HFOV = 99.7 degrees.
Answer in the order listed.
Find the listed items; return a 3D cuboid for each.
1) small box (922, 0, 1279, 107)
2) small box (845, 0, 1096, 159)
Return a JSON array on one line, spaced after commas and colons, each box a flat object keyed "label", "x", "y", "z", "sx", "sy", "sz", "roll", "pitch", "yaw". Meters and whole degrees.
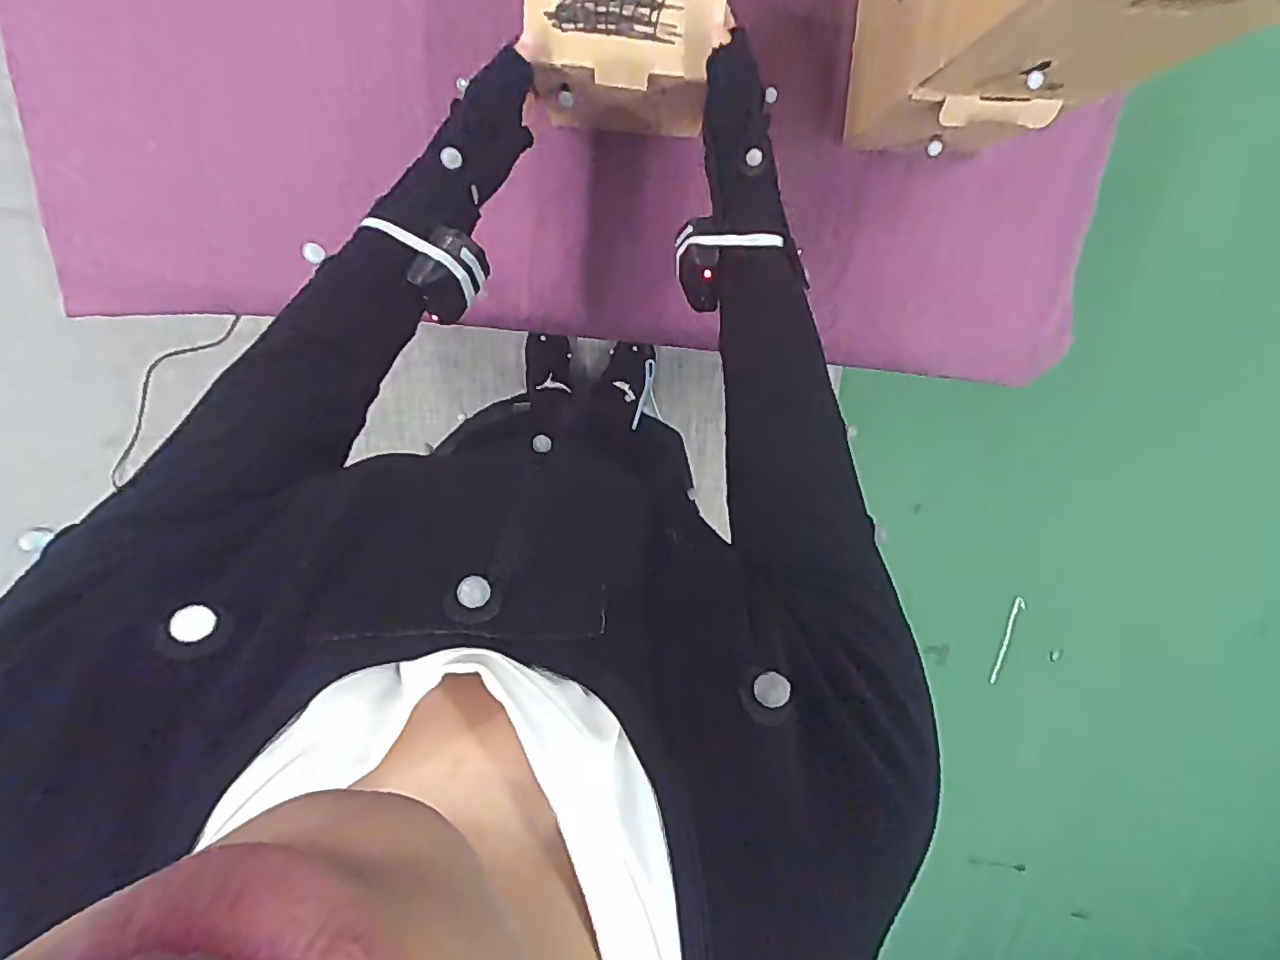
[{"label": "small box", "x": 0.318, "y": -0.380, "z": 0.359, "sx": 0.168, "sy": 0.176, "sz": 0.179, "roll": 2, "pitch": 109, "yaw": -2}, {"label": "small box", "x": 0.312, "y": -0.429, "z": 0.514, "sx": 0.168, "sy": 0.176, "sz": 0.179, "roll": 1, "pitch": 109, "yaw": -1}]
